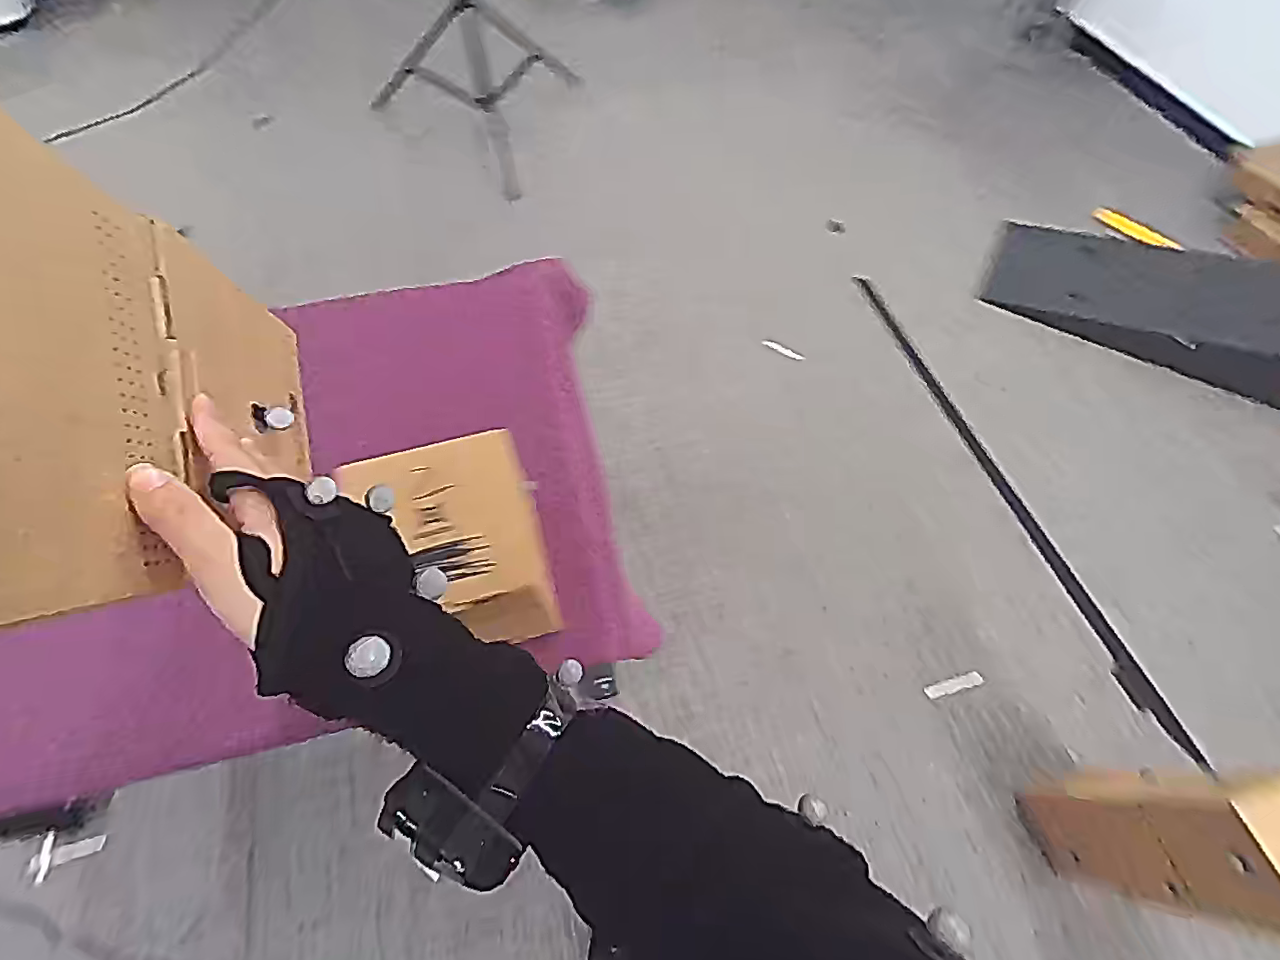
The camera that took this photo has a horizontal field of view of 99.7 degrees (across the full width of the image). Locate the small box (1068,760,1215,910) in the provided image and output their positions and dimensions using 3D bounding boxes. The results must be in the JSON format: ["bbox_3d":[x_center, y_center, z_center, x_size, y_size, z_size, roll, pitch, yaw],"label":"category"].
[{"bbox_3d":[0.931,0.618,0.963,0.168,0.176,0.179,-14,65,-9],"label":"small box"}]

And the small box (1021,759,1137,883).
[{"bbox_3d":[0.933,0.690,1.109,0.179,0.176,0.168,-14,64,-10],"label":"small box"}]

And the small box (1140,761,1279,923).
[{"bbox_3d":[0.936,0.540,0.818,0.168,0.176,0.179,-14,65,-8],"label":"small box"}]
